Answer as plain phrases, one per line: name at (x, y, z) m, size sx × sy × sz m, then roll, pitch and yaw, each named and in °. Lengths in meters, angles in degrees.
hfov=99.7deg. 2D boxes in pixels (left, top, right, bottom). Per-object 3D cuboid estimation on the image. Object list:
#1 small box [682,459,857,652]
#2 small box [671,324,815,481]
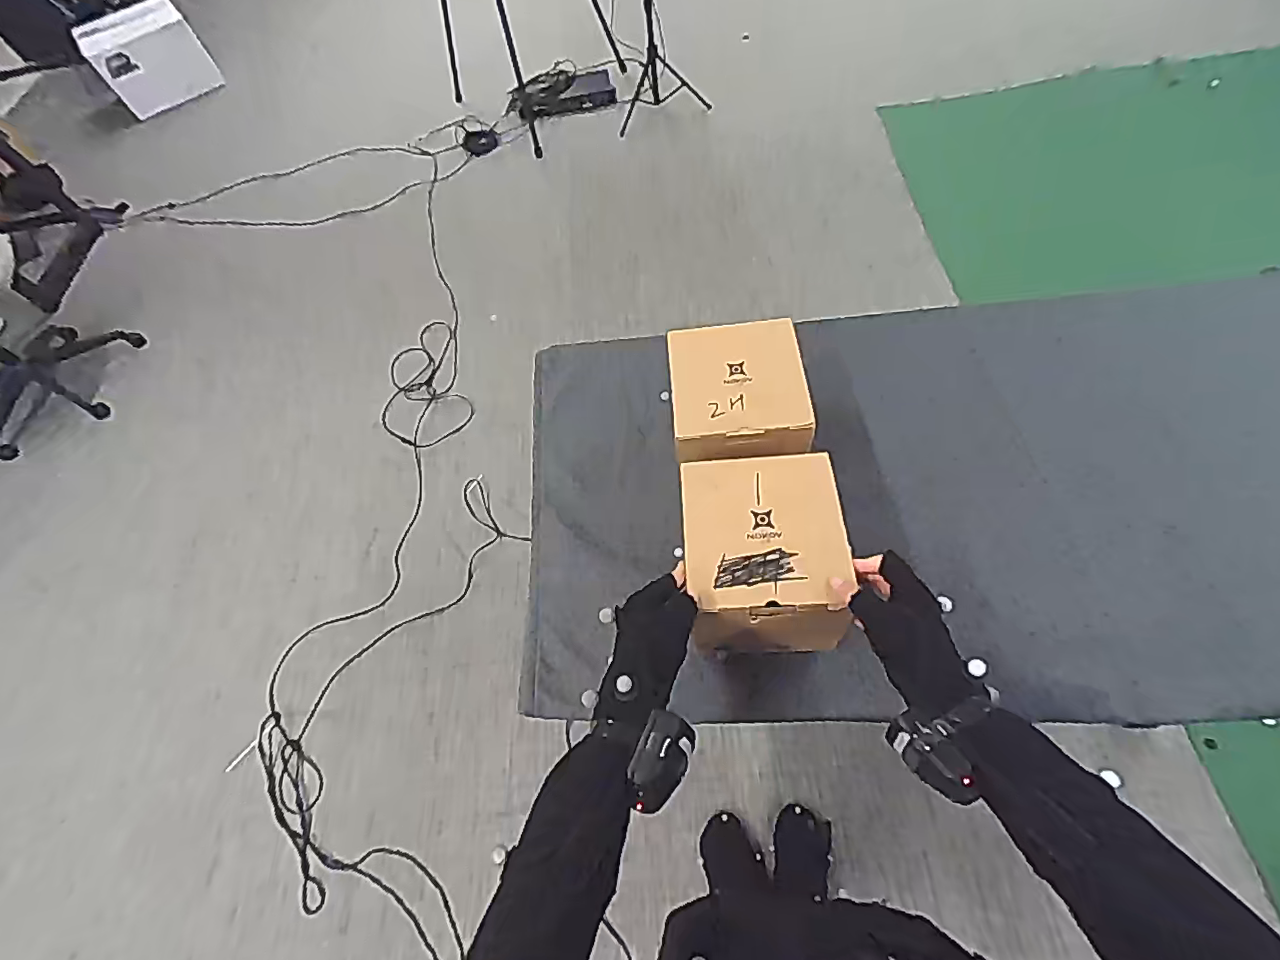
small box at (0.138, 0.097, 0.629) m, size 0.168 × 0.176 × 0.179 m, roll -4°, pitch 58°, yaw 7°
small box at (0.131, -0.086, 0.745) m, size 0.168 × 0.176 × 0.179 m, roll -5°, pitch 60°, yaw 6°
